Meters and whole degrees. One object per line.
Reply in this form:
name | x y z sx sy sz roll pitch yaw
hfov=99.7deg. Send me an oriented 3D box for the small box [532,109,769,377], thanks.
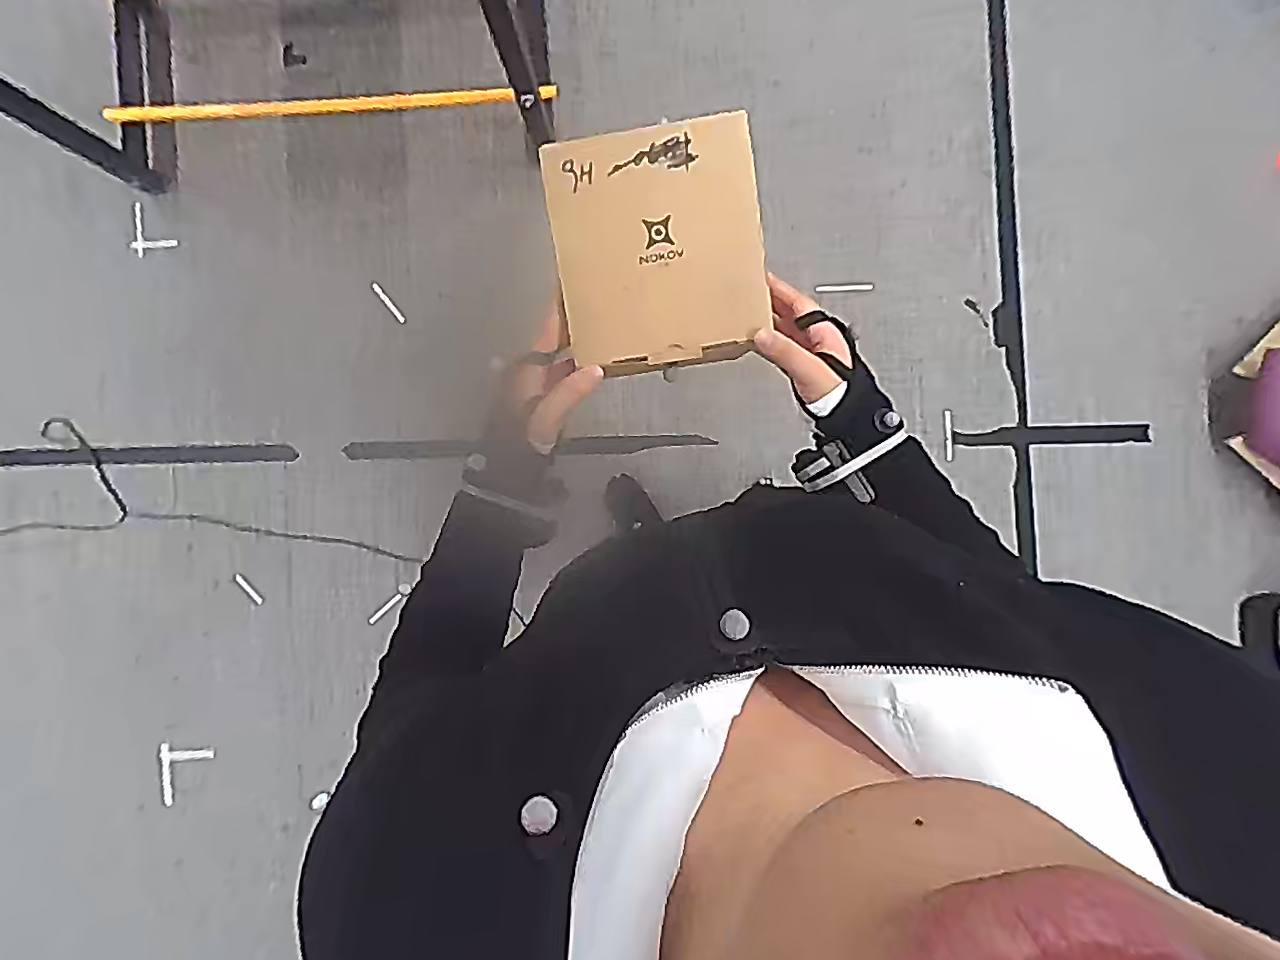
small box | 0.013 -0.194 0.499 0.168 0.176 0.179 -10 99 2
